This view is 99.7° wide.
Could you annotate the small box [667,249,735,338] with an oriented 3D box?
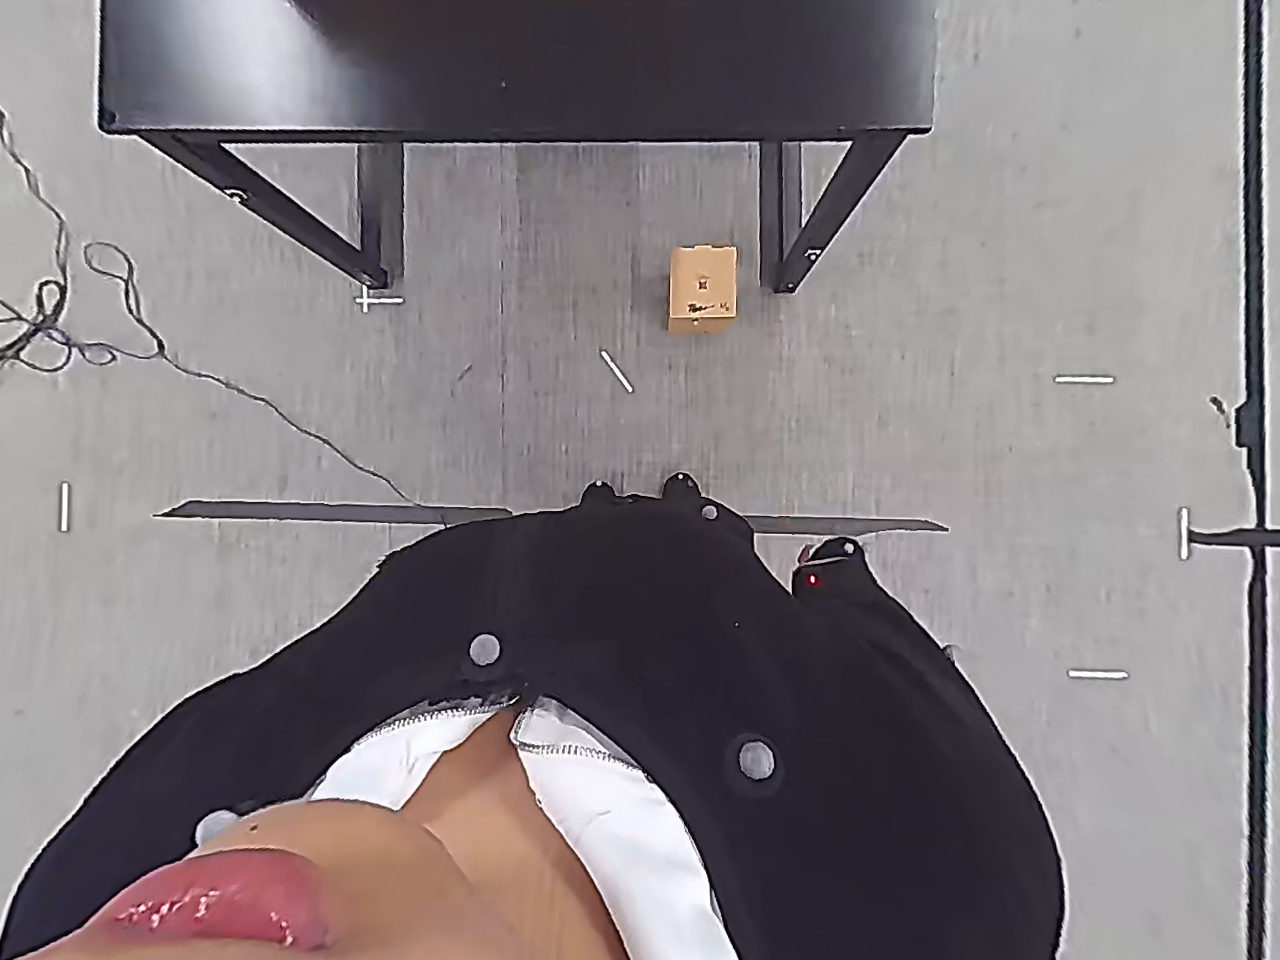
[{"bbox_3d":[0.154,-0.484,1.416,0.168,0.176,0.179,0,89,2],"label":"small box"}]
